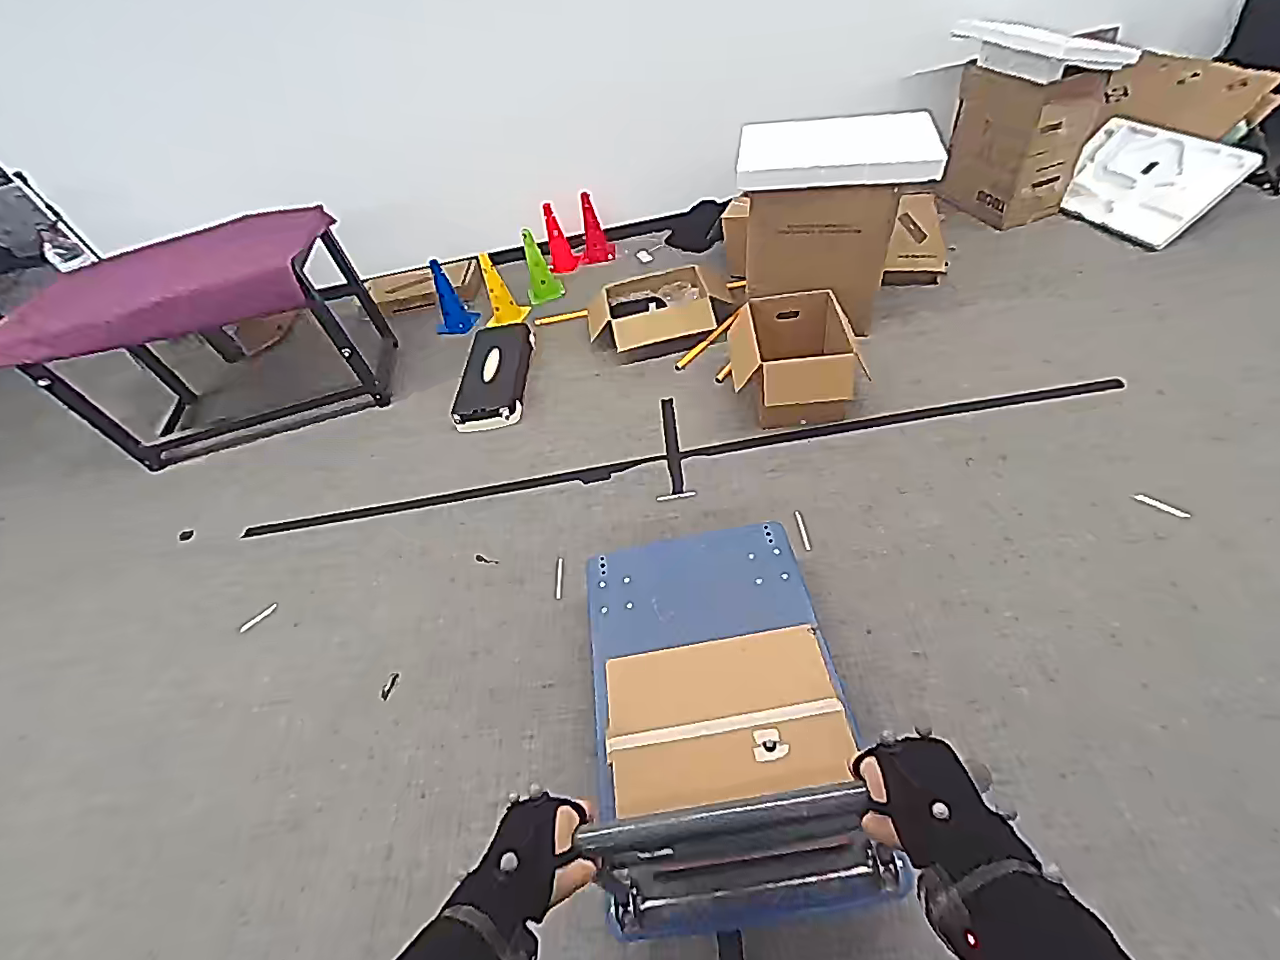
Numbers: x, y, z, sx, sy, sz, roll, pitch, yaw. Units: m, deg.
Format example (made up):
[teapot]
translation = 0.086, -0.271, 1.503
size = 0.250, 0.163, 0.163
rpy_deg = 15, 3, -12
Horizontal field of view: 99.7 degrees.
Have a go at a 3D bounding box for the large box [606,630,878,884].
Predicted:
[large box]
translation = 0.169, 0.529, 1.025
size = 0.408, 0.320, 0.320
rpy_deg = -11, 48, 2
